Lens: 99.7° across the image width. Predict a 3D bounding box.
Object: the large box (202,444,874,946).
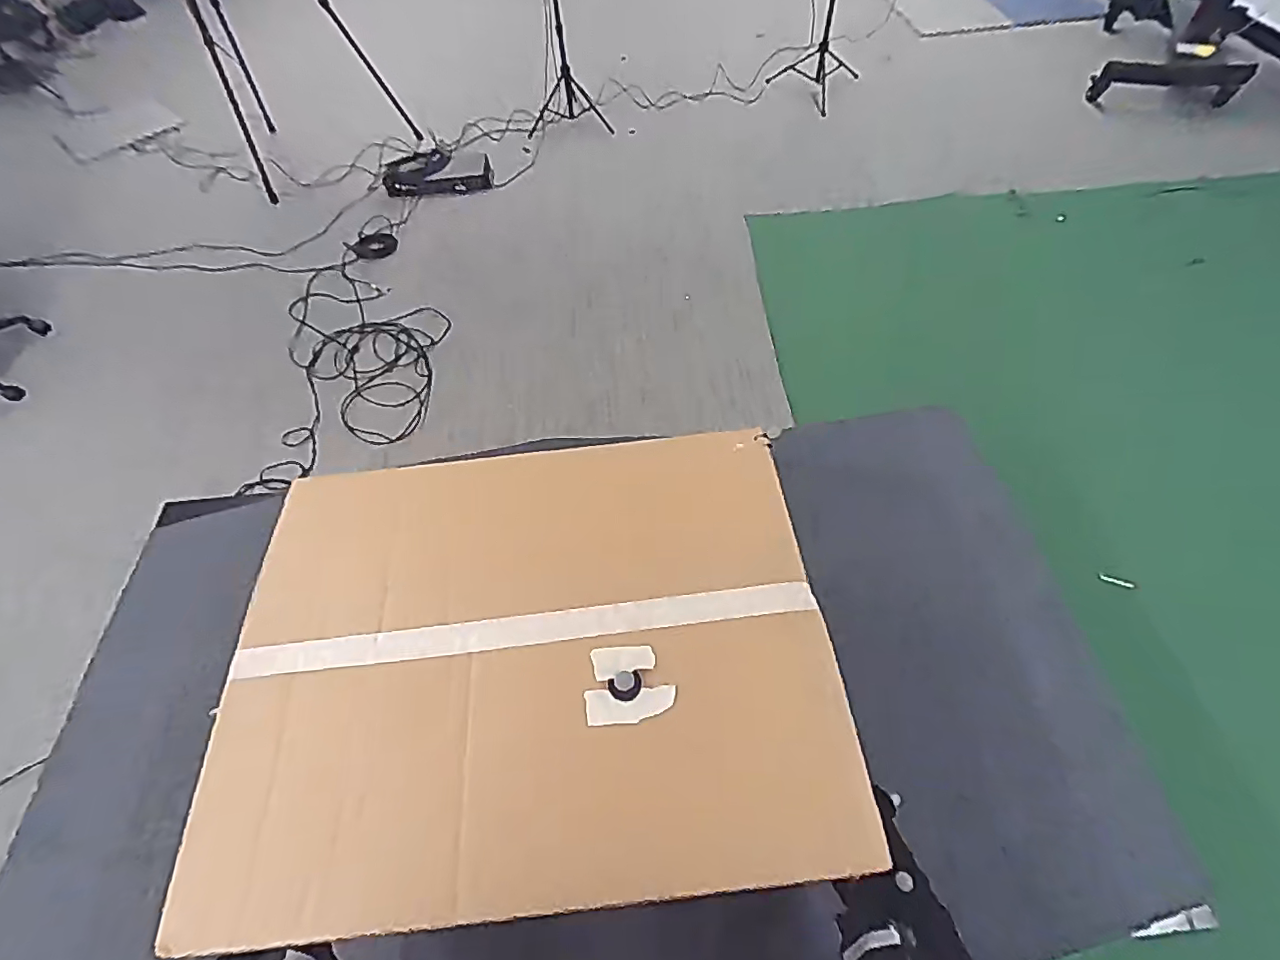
[{"bbox_3d":[-0.067,0.199,0.519,0.408,0.320,0.320,-6,57,-1],"label":"large box"}]
